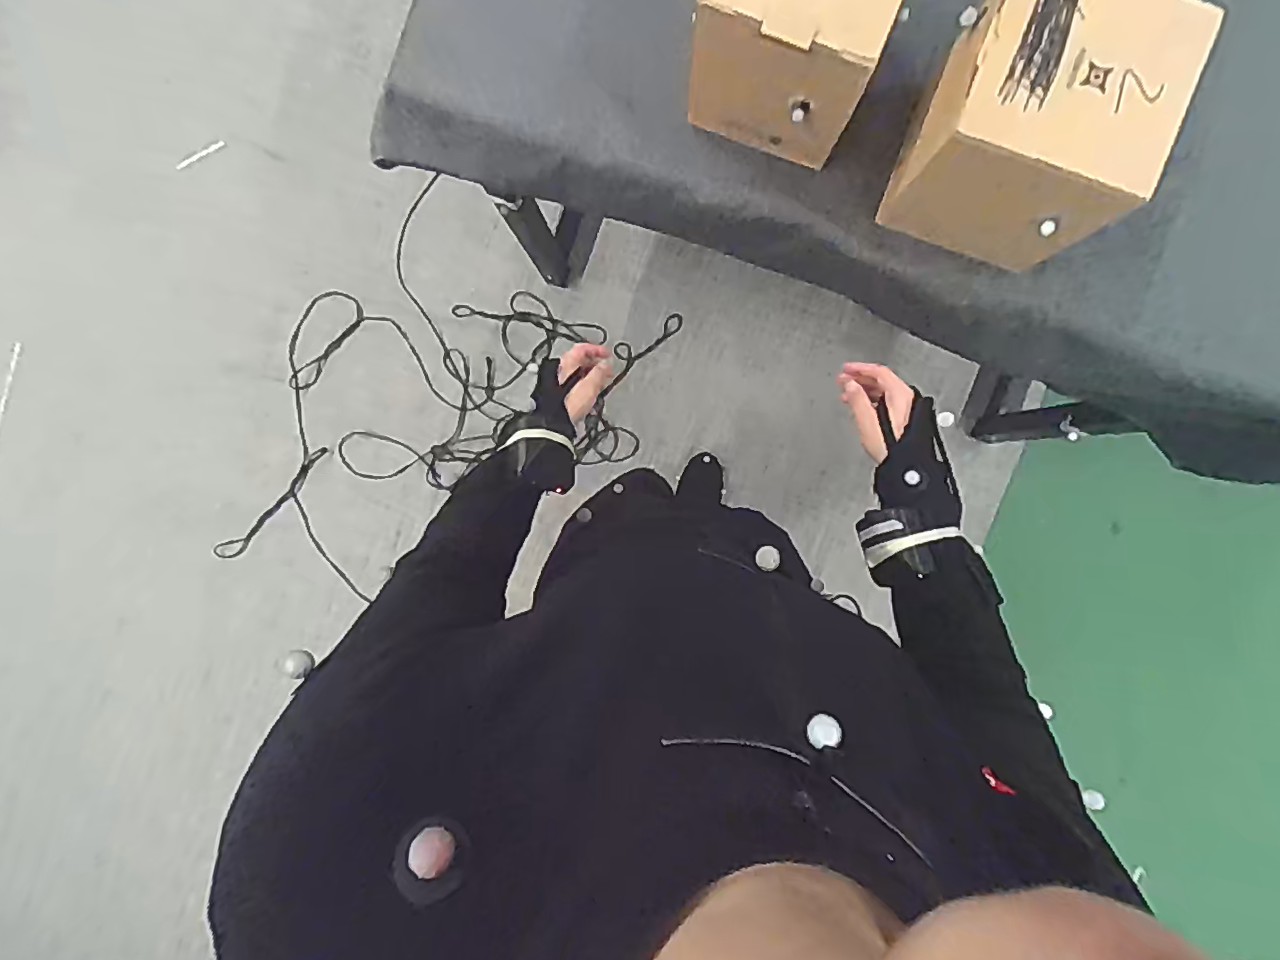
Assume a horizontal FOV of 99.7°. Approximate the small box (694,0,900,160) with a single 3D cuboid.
[{"bbox_3d":[0.158,-0.462,0.535,0.168,0.176,0.179,21,91,1],"label":"small box"}]
